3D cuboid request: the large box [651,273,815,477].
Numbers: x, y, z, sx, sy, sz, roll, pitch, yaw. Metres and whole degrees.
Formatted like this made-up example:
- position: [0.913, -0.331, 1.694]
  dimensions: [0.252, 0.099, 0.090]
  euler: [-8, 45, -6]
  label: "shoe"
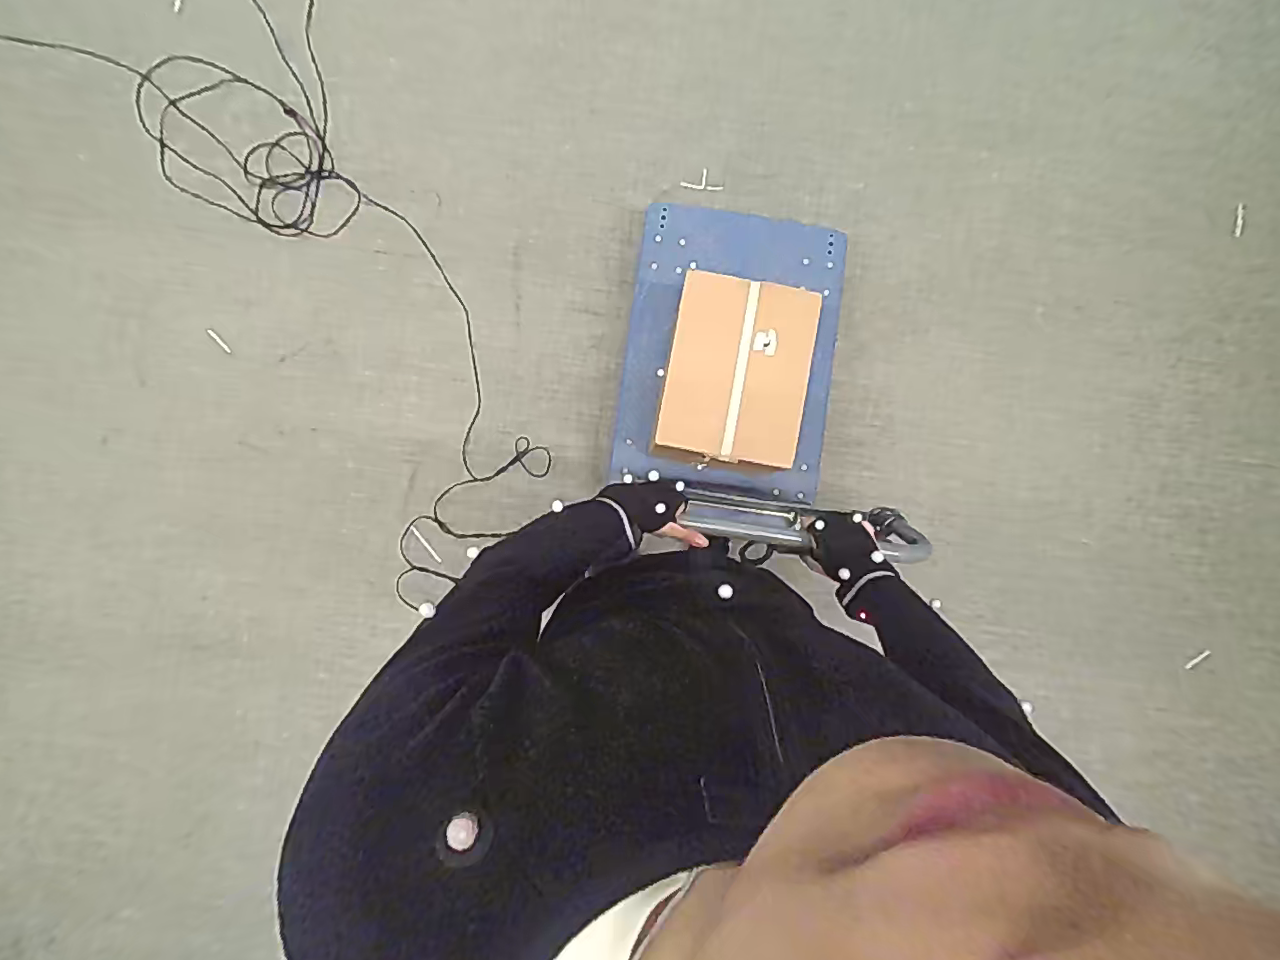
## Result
- position: [0.210, -0.236, 1.351]
  dimensions: [0.320, 0.320, 0.408]
  euler: [11, 86, -1]
  label: "large box"
